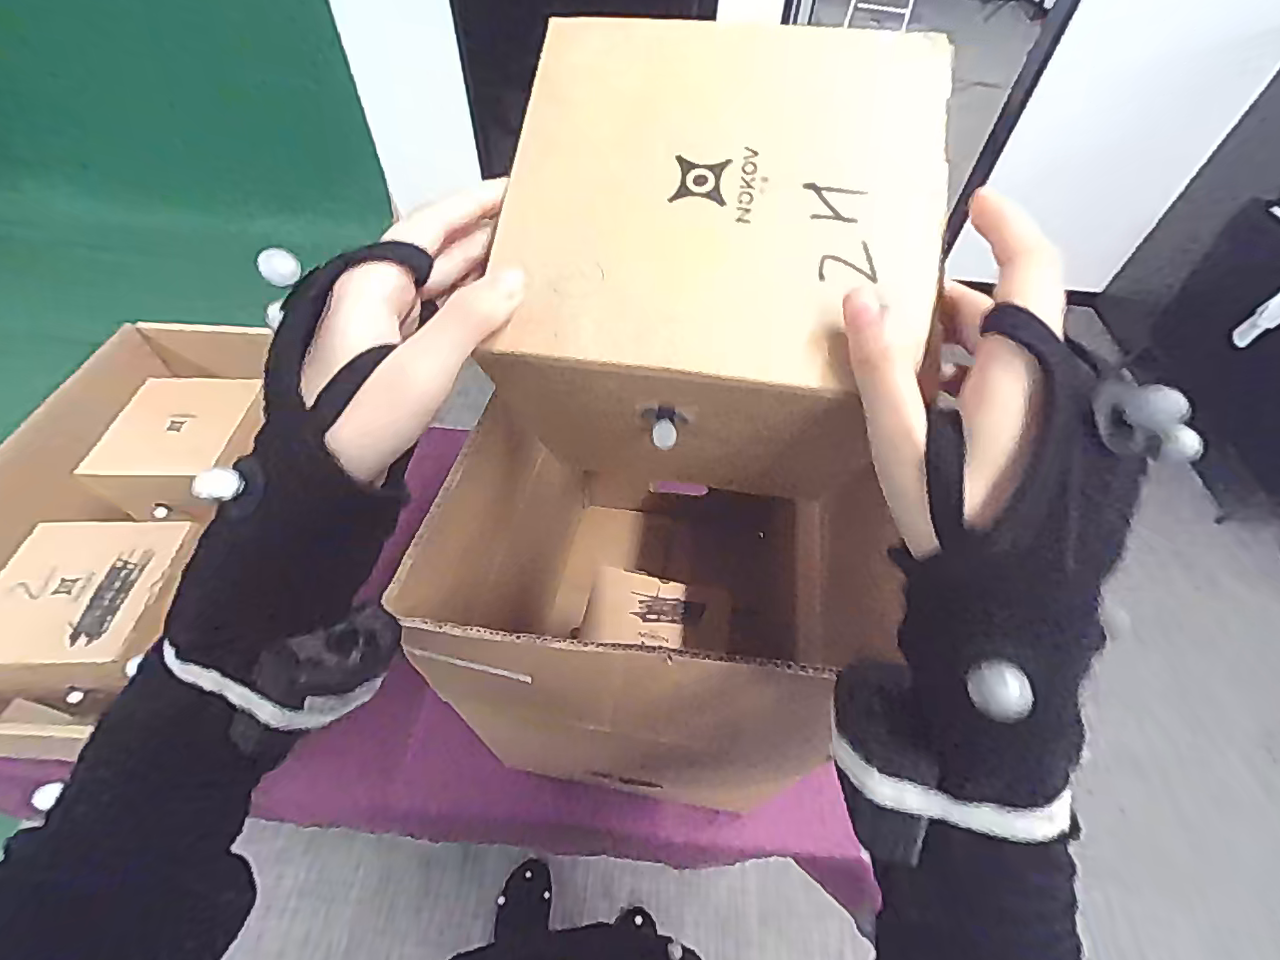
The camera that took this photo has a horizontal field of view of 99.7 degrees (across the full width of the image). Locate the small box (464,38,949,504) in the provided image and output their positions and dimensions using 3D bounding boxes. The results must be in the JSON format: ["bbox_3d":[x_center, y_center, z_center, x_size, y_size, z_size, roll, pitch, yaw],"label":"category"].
[{"bbox_3d":[0.036,-0.089,0.294,0.179,0.176,0.168,8,78,6],"label":"small box"}]

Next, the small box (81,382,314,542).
[{"bbox_3d":[-0.612,-0.022,0.782,0.168,0.176,0.179,1,52,-1],"label":"small box"}]
